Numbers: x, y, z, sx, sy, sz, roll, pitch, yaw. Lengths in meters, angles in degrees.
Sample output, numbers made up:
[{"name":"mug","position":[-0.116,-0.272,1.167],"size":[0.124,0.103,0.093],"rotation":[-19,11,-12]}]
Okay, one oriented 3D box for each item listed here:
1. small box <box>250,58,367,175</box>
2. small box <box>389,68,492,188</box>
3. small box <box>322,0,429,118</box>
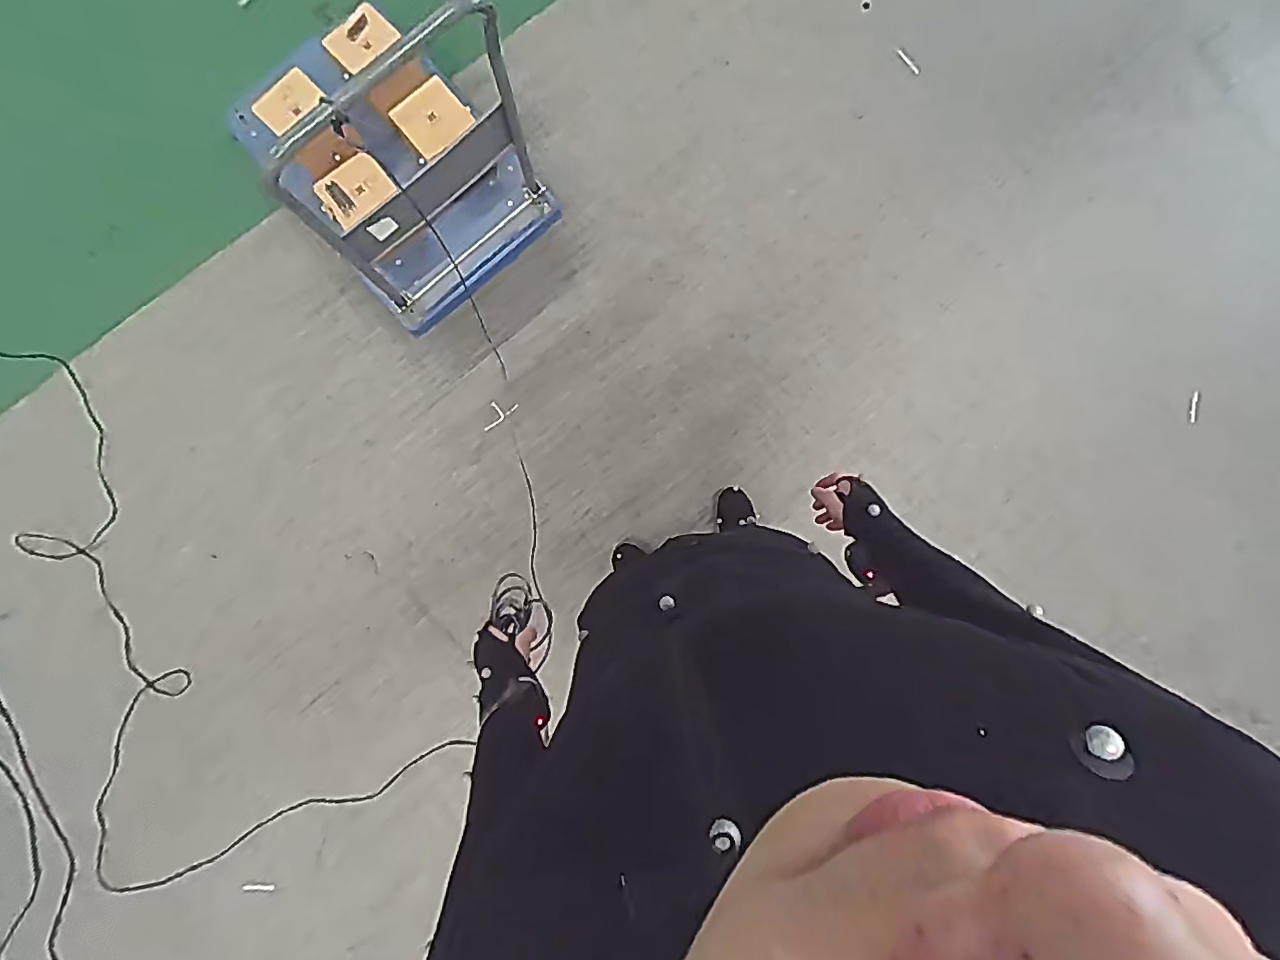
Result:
[{"name":"small box","position":[-0.885,-0.968,1.464],"size":[0.168,0.176,0.179],"rotation":[-44,87,-3]},{"name":"small box","position":[-0.530,-0.941,1.462],"size":[0.168,0.176,0.179],"rotation":[-40,88,-2]},{"name":"small box","position":[-0.706,-1.146,1.474],"size":[0.168,0.176,0.179],"rotation":[-45,88,-2]}]
